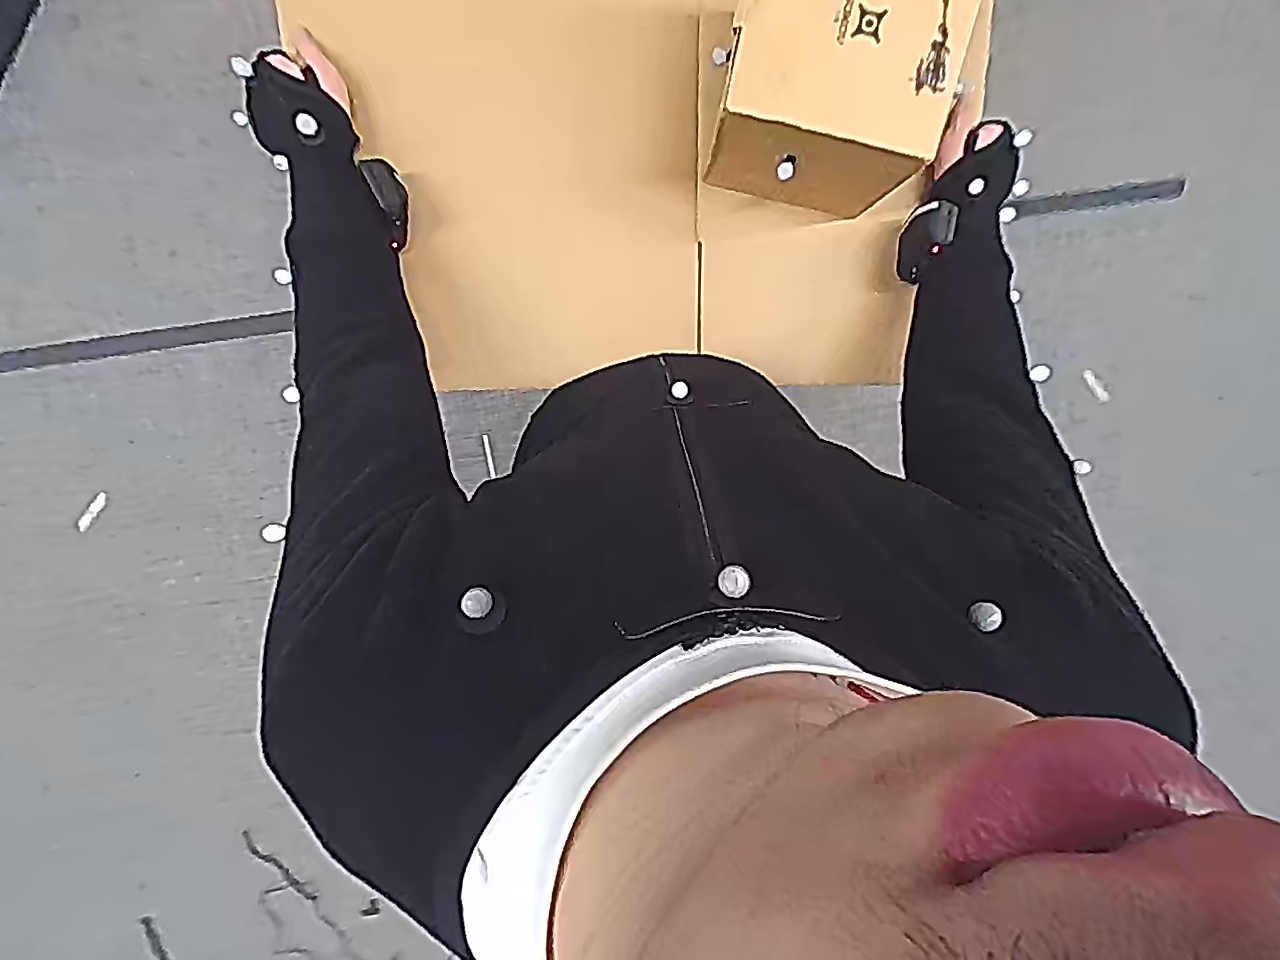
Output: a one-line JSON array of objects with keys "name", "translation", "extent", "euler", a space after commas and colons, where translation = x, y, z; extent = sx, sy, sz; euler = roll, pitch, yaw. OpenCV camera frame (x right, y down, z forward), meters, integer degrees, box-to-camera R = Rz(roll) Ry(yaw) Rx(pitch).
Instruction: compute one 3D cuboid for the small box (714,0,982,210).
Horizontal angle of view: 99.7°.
[{"name": "small box", "translation": [0.174, -0.370, 0.497], "extent": [0.179, 0.176, 0.168], "euler": [13, 101, 0]}]
